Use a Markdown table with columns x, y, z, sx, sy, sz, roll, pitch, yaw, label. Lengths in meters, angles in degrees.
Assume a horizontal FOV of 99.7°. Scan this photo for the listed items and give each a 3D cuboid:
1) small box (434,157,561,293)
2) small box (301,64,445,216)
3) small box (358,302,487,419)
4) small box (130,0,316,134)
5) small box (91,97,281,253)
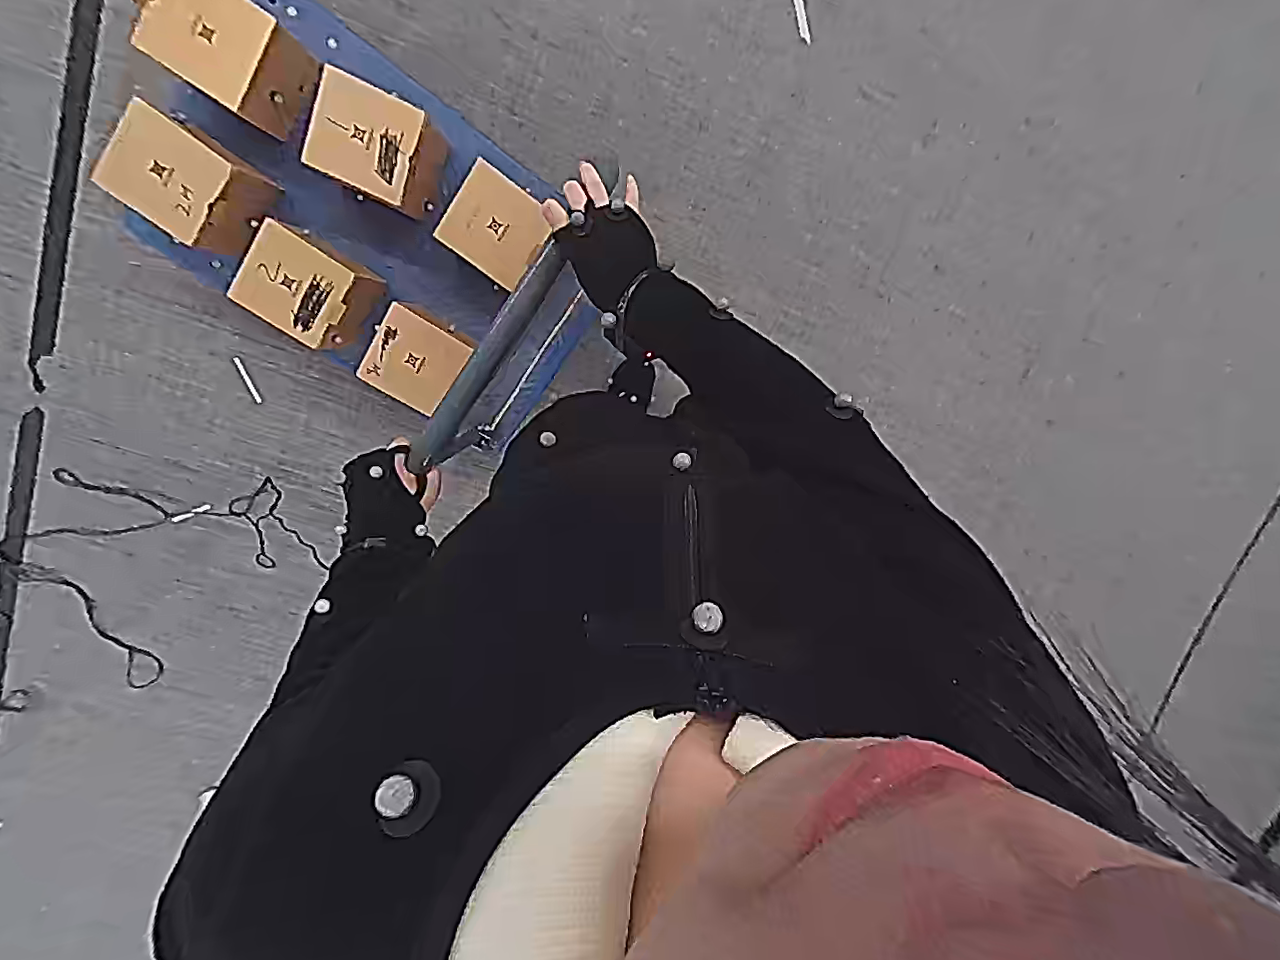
| x | y | z | sx | sy | sz | roll | pitch | yaw | label |
| --- | --- | --- | --- | --- | --- | --- | --- | --- | --- |
| -0.271 | -0.492 | 1.076 | 0.179 | 0.176 | 0.168 | 34 | 99 | -13 | small box |
| -0.488 | -0.619 | 1.015 | 0.179 | 0.176 | 0.168 | 22 | 102 | -11 | small box |
| -0.439 | -0.250 | 1.124 | 0.179 | 0.176 | 0.168 | 30 | 100 | -13 | small box |
| -0.718 | -0.751 | 0.954 | 0.179 | 0.176 | 0.168 | 30 | 101 | -13 | small box |
| -0.822 | -0.544 | 0.999 | 0.179 | 0.176 | 0.168 | 35 | 99 | -15 | small box |
